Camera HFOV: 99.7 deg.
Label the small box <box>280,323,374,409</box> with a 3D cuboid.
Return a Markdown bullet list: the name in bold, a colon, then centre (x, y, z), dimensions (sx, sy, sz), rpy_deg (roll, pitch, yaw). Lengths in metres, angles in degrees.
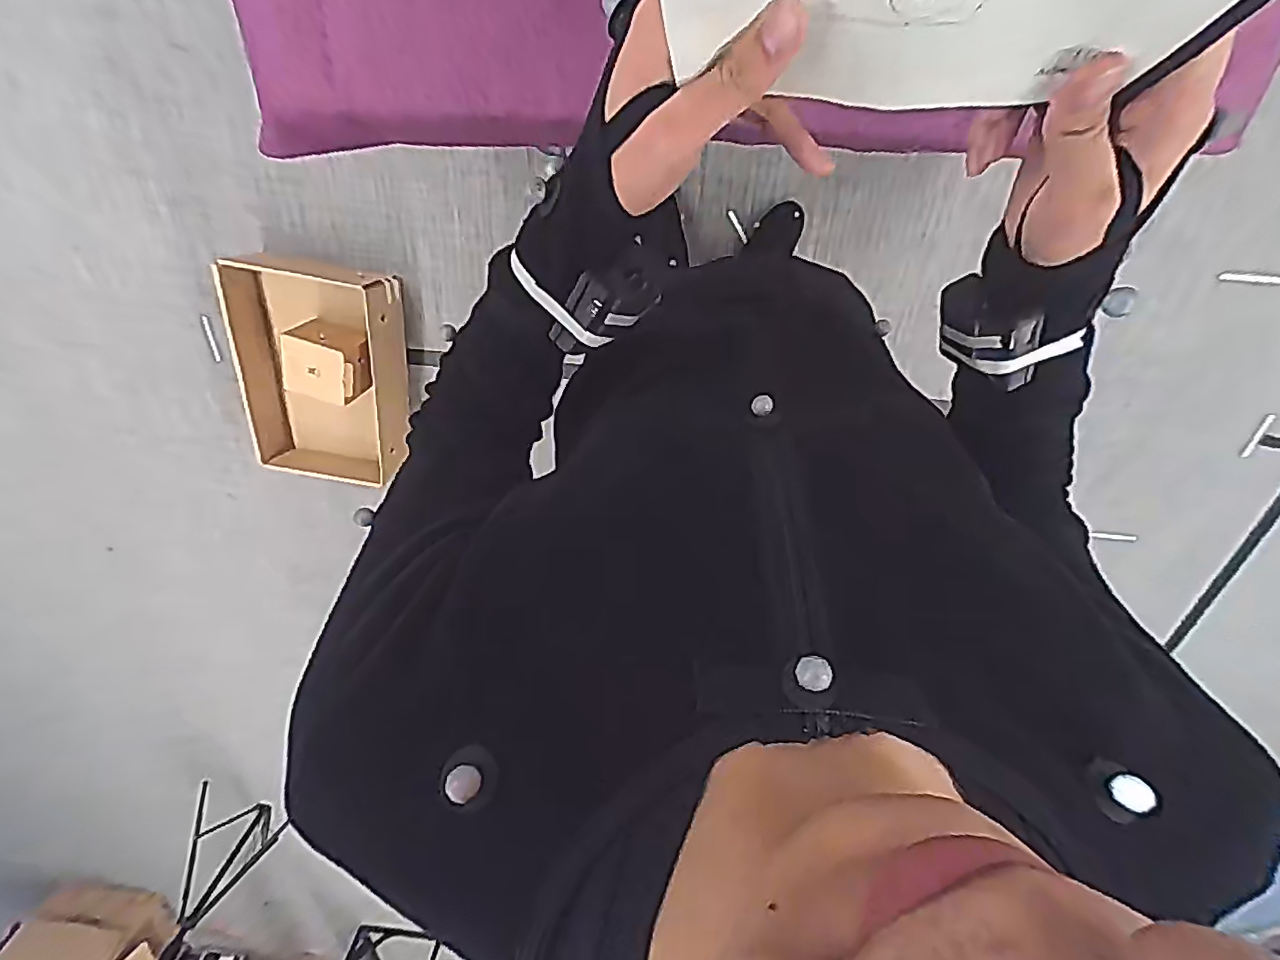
- **small box**: centre (-0.878, -0.328, 1.533), dimensions (0.179, 0.176, 0.168), rpy_deg (17, 121, -5)

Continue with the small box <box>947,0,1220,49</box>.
- **small box**: centre (0.422, -0.519, 0.498), dimensions (0.179, 0.176, 0.168), rpy_deg (6, 121, 2)
